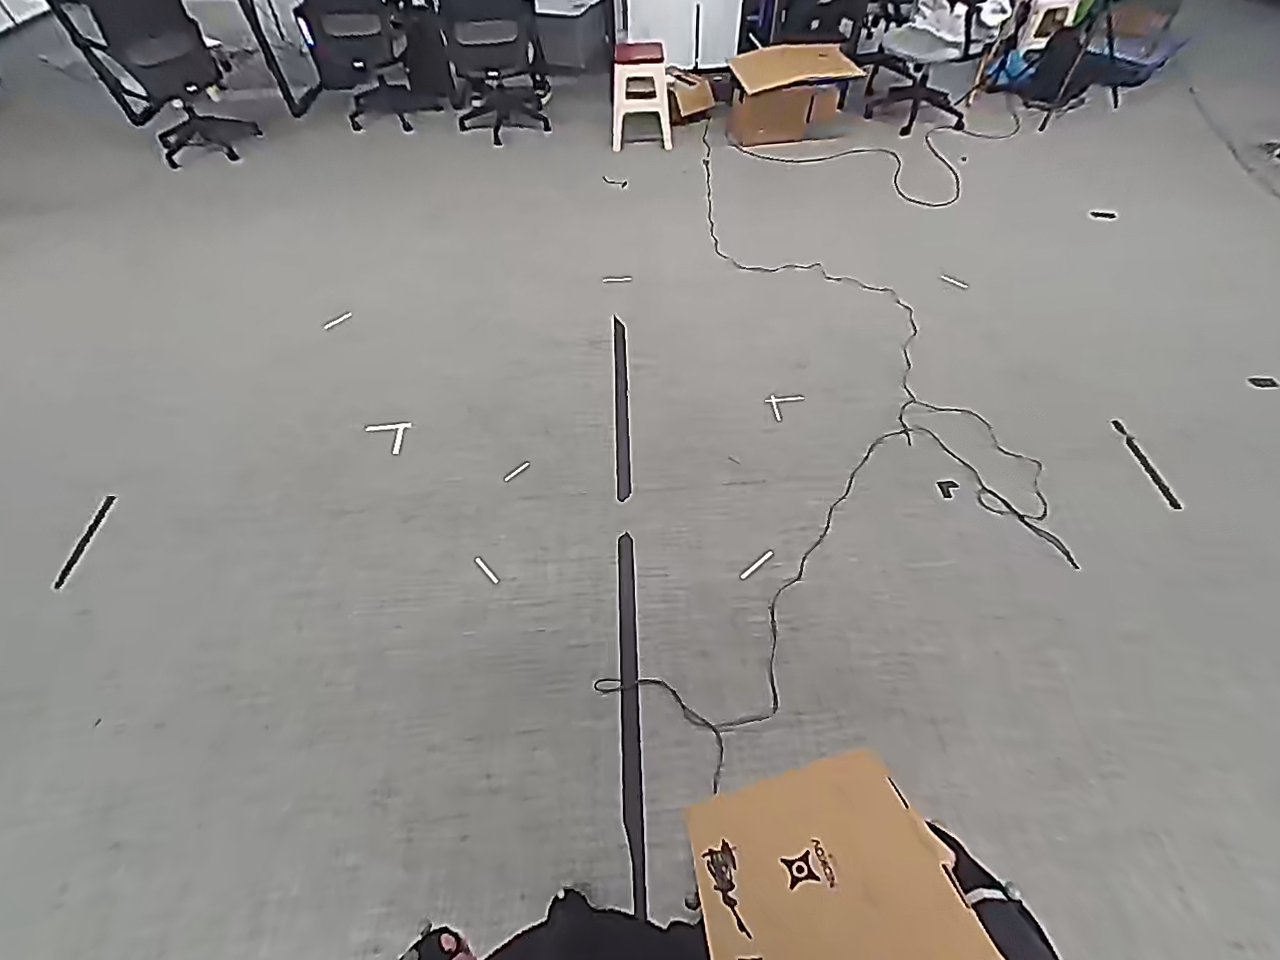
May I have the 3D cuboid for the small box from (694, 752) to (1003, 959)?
[{"bbox_3d":[0.159,0.366,0.434,0.179,0.176,0.168,-18,18,1],"label":"small box"}]
